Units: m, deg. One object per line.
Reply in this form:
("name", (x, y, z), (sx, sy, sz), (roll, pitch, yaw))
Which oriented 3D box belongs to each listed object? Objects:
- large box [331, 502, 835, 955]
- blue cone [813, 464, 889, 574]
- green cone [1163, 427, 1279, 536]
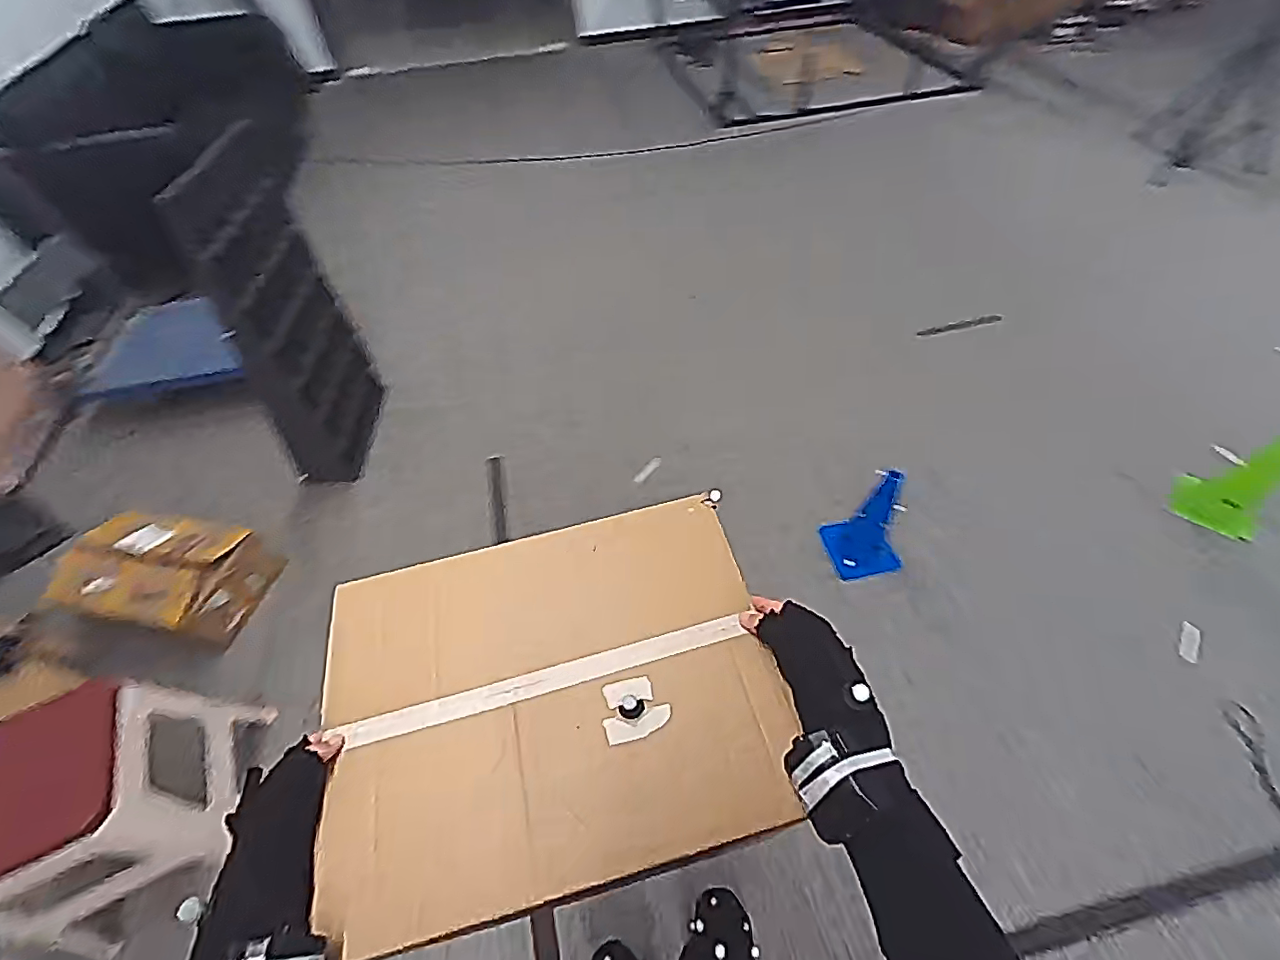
("large box", (-0.061, 0.274, 0.617), (0.408, 0.320, 0.320), (-12, 54, -6))
("blue cone", (0.649, 0.097, 1.557), (0.193, 0.380, 0.192), (-10, 51, -5))
("green cone", (1.773, -0.038, 1.573), (0.202, 0.368, 0.200), (30, 58, 26))
